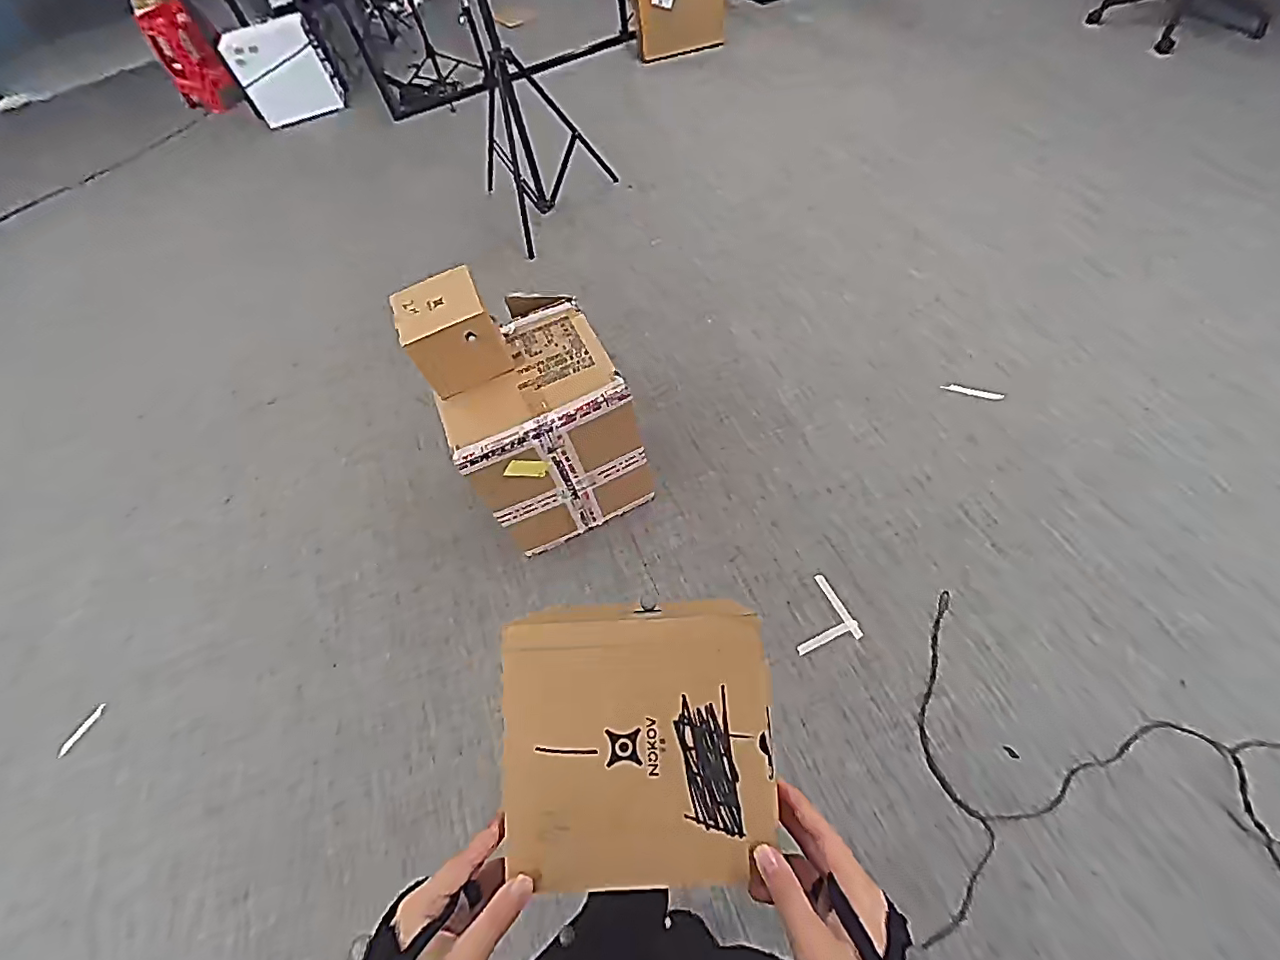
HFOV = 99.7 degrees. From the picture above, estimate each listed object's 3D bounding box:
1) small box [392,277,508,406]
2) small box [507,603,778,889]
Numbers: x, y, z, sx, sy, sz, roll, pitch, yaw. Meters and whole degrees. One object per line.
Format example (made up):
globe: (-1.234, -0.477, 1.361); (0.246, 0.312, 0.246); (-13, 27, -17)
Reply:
small box: (-0.399, -0.294, 1.163); (0.179, 0.176, 0.168); (-25, 58, -3)
small box: (0.000, 0.190, 0.436); (0.179, 0.176, 0.168); (-3, 80, 1)
